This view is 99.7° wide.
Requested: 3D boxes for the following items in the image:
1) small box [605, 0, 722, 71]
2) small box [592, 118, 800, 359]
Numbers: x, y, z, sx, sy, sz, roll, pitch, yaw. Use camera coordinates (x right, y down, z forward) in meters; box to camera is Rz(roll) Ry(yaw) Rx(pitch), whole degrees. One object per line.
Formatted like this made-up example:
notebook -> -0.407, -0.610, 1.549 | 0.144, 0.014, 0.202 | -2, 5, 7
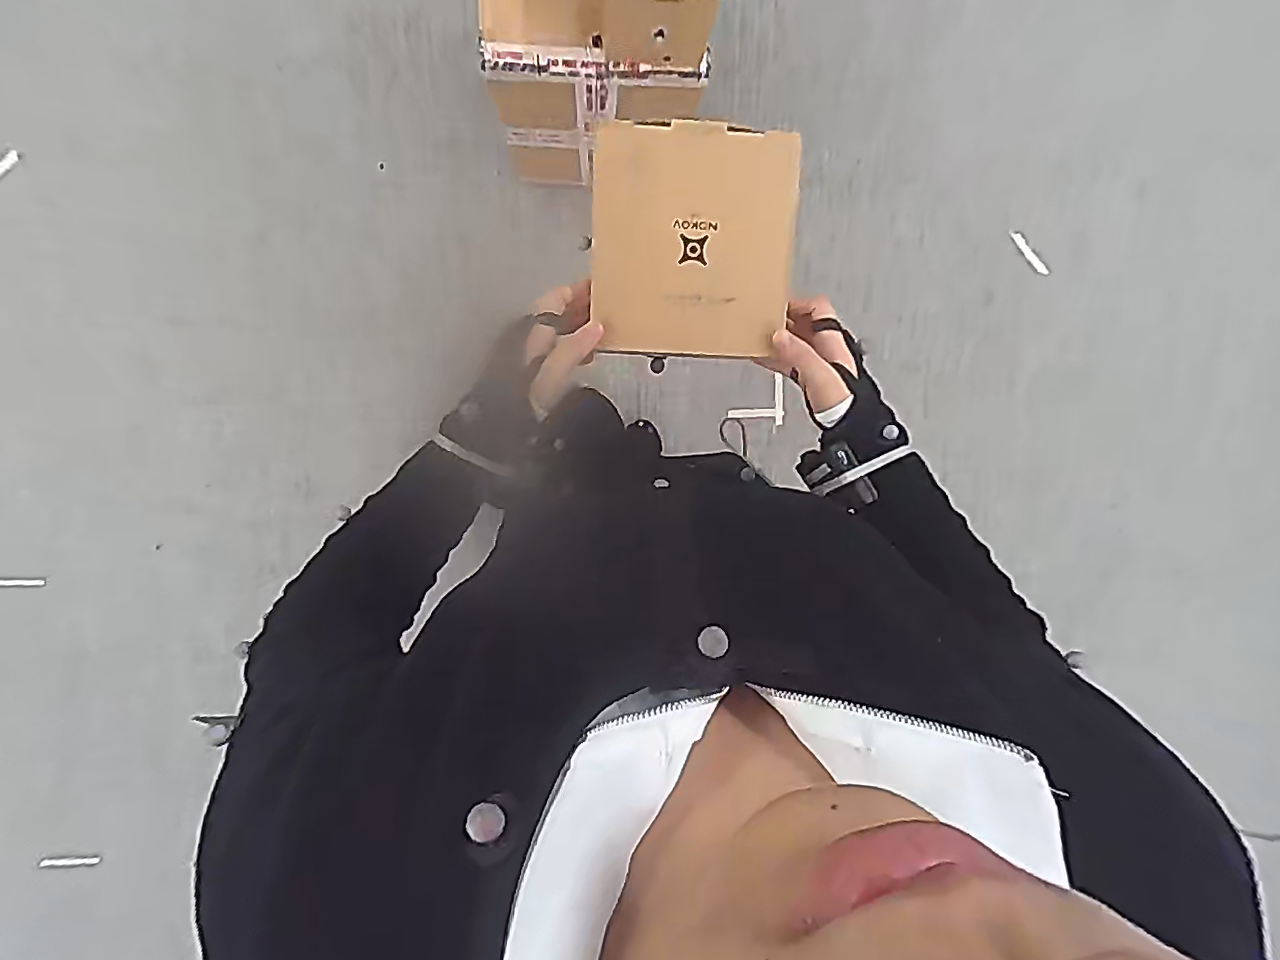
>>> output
small box -> 0.032, -0.766, 0.825 | 0.168, 0.176, 0.179 | 0, 99, -5
small box -> 0.038, -0.209, 0.516 | 0.168, 0.176, 0.179 | 1, 102, -3
